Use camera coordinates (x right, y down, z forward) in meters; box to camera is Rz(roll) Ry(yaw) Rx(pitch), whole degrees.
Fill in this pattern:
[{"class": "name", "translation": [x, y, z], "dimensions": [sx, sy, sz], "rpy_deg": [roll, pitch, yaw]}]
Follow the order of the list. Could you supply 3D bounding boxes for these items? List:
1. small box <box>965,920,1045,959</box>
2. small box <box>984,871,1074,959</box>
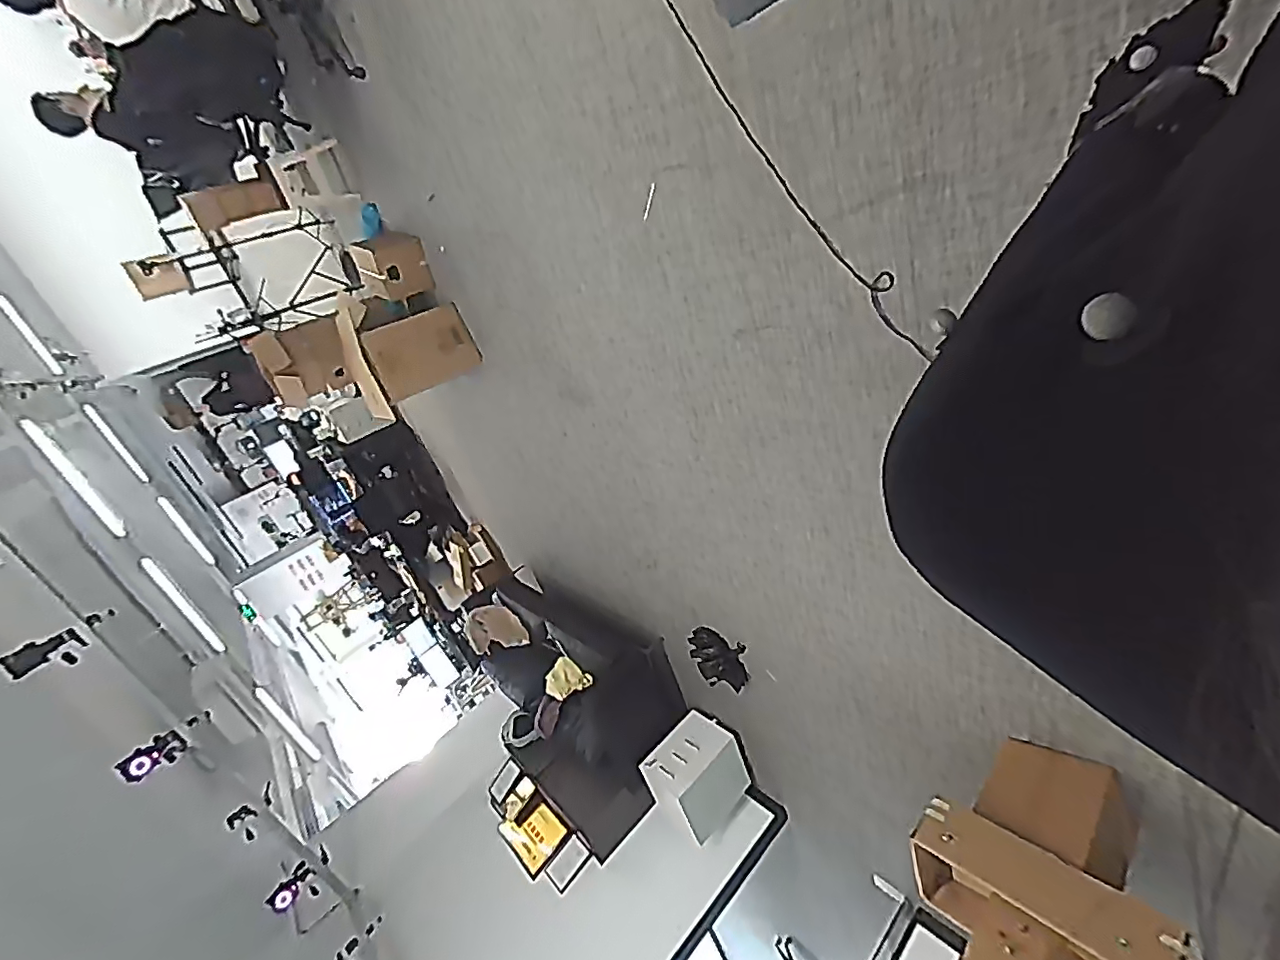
[{"class": "small box", "translation": [1.028, 1.399, 1.506], "dimensions": [0.168, 0.176, 0.179], "rpy_deg": [5, 124, 53]}, {"class": "small box", "translation": [1.144, 1.314, 1.585], "dimensions": [0.168, 0.176, 0.179], "rpy_deg": [3, 124, 53]}]
